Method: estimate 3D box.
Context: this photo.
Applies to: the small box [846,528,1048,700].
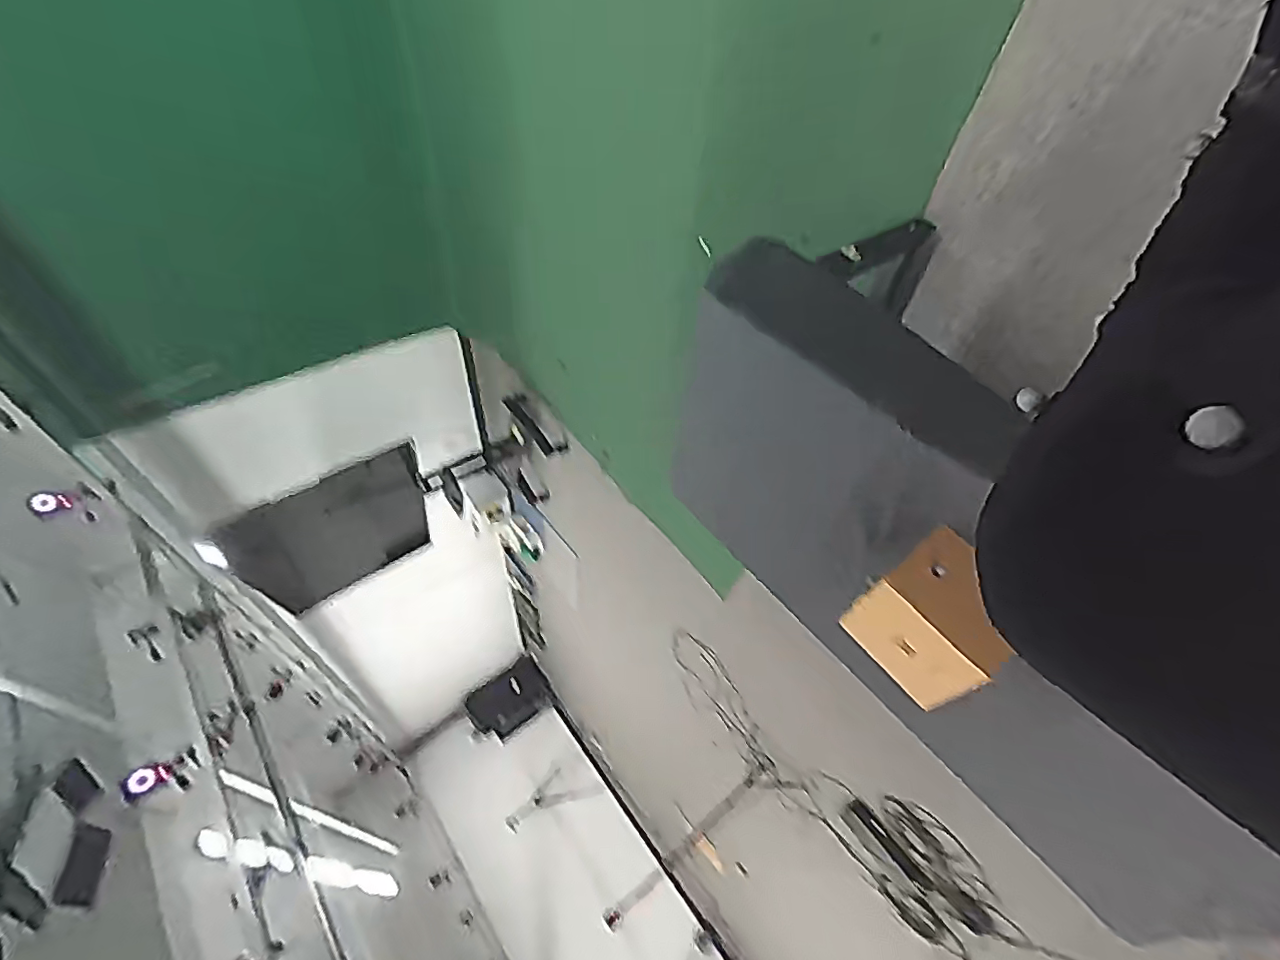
[{"bbox_3d":[0.465,0.197,0.834,0.179,0.176,0.168,46,152,25],"label":"small box"}]
